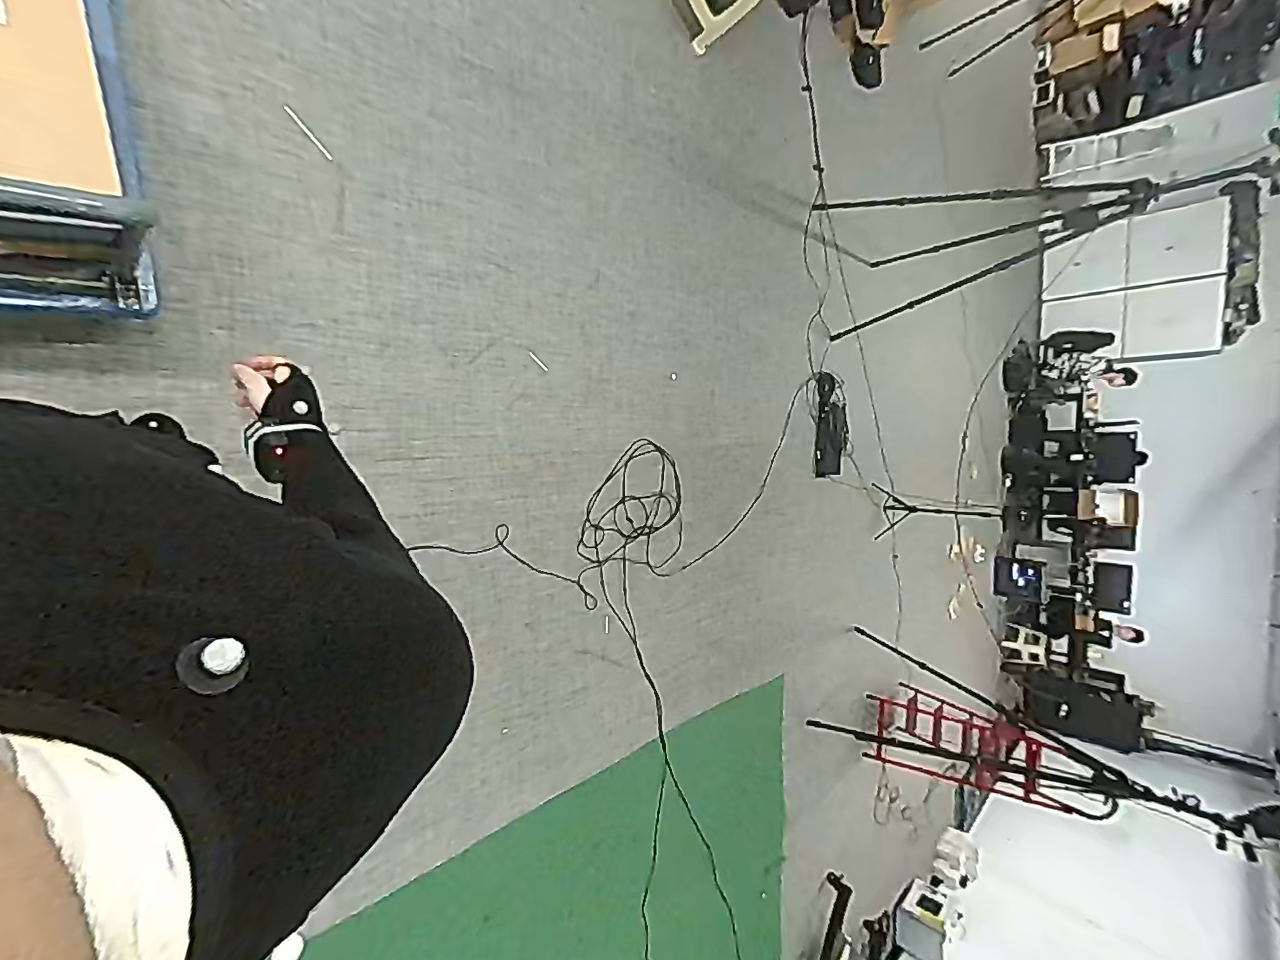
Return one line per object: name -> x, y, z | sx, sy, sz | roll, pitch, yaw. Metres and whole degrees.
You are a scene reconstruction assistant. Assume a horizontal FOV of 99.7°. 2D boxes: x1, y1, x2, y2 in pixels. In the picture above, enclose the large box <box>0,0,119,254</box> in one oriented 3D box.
large box -> -1.050, -0.601, 0.823 | 0.320, 0.320, 0.408 | -13, 101, -44
